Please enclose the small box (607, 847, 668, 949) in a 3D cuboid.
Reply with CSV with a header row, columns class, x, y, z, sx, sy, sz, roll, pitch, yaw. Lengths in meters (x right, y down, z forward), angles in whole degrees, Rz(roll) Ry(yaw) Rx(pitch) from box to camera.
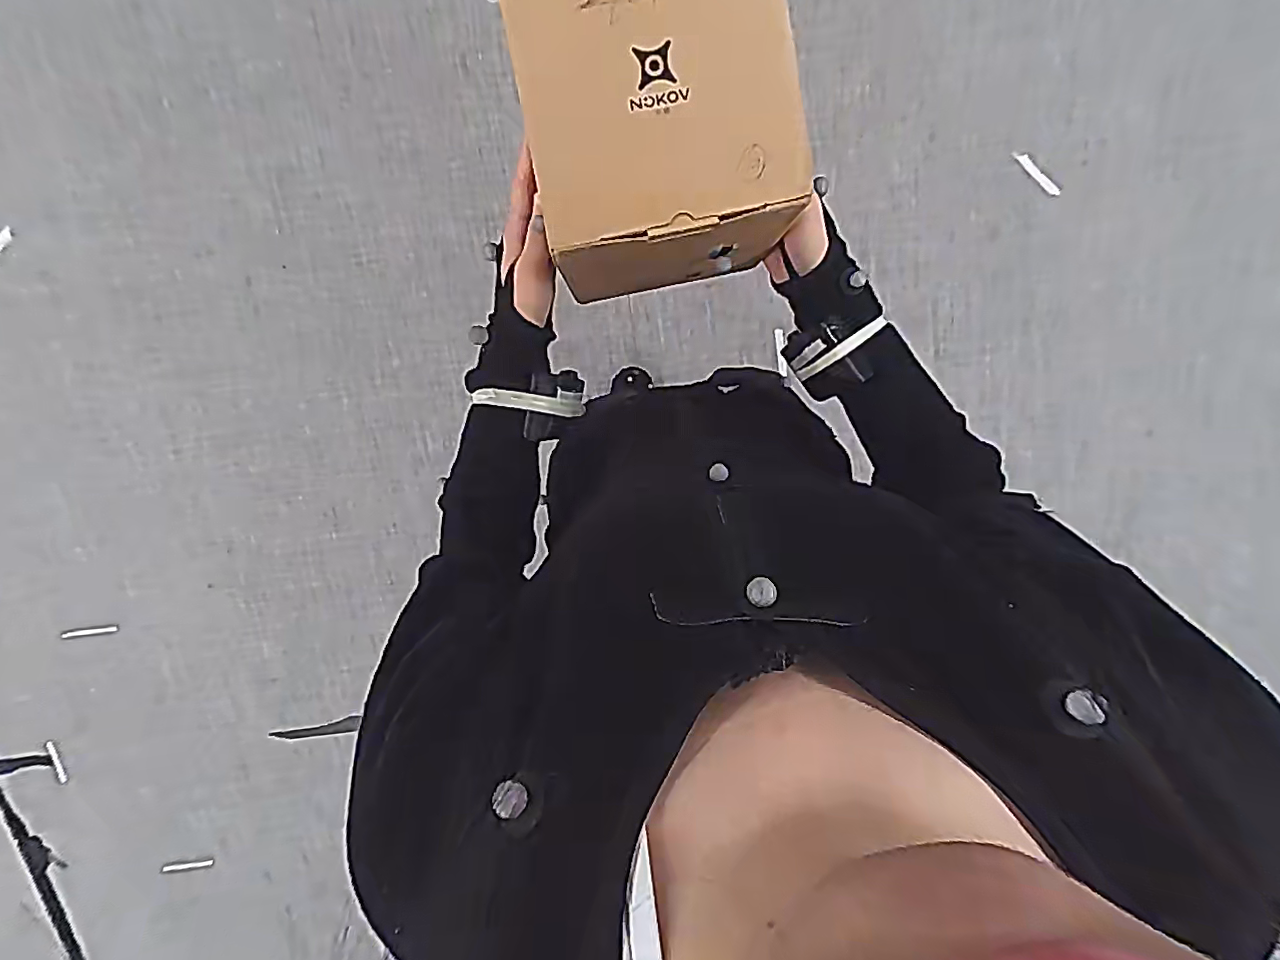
class,x,y,z,sx,sy,sz,roll,pitch,yaw
small box,-0.008,1.284,1.668,0.168,0.176,0.179,-8,101,-1
